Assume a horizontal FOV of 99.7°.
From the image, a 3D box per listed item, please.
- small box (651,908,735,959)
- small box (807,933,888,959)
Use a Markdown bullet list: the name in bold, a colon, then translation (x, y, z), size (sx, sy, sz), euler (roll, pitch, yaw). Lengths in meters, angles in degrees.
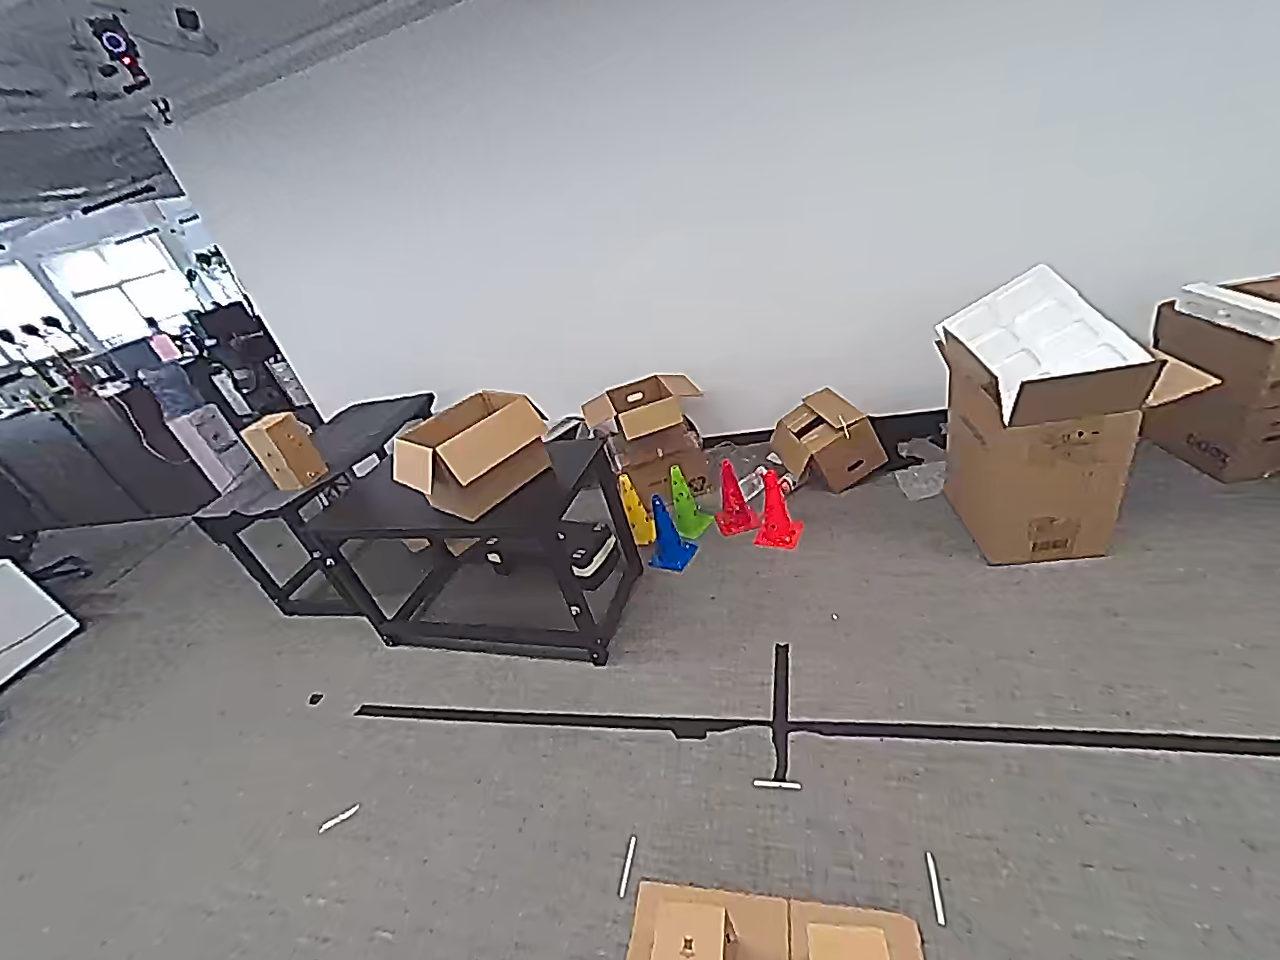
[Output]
- **small box**: translation (0.123, 1.134, 1.242), size (0.168, 0.176, 0.179), euler (-7, 31, 17)
- **small box**: translation (0.450, 1.105, 1.142), size (0.168, 0.176, 0.179), euler (-8, 31, 14)
